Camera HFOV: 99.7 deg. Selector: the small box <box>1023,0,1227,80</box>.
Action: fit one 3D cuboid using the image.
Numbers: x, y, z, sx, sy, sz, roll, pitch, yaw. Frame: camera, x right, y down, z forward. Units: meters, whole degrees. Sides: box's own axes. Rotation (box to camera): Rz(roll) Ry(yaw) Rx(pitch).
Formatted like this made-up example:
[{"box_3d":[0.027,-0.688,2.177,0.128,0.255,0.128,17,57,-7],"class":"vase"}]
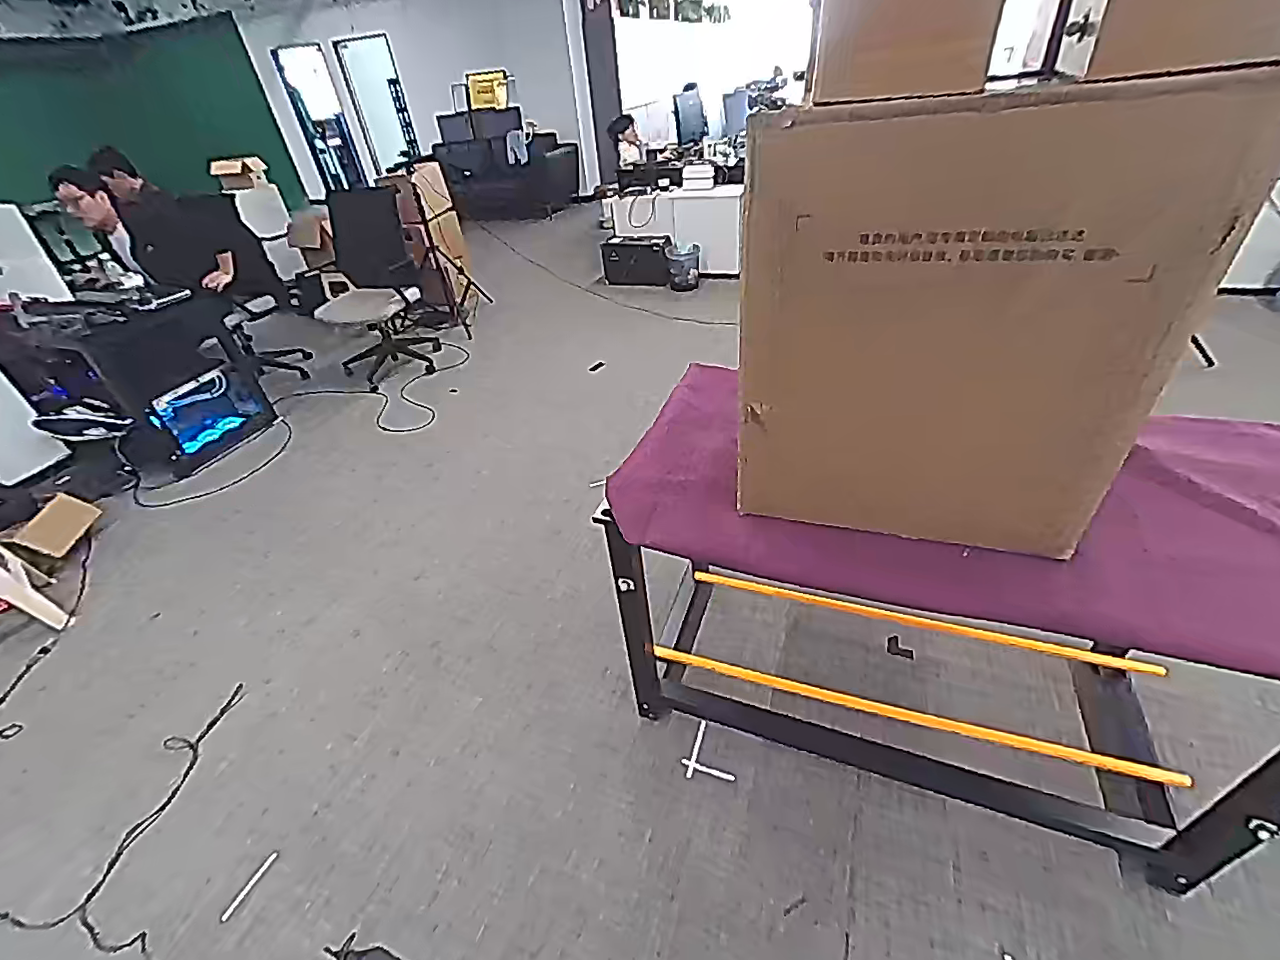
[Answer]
[{"box_3d":[0.604,-0.609,0.672,0.168,0.176,0.179,9,40,21],"class":"small box"}]
